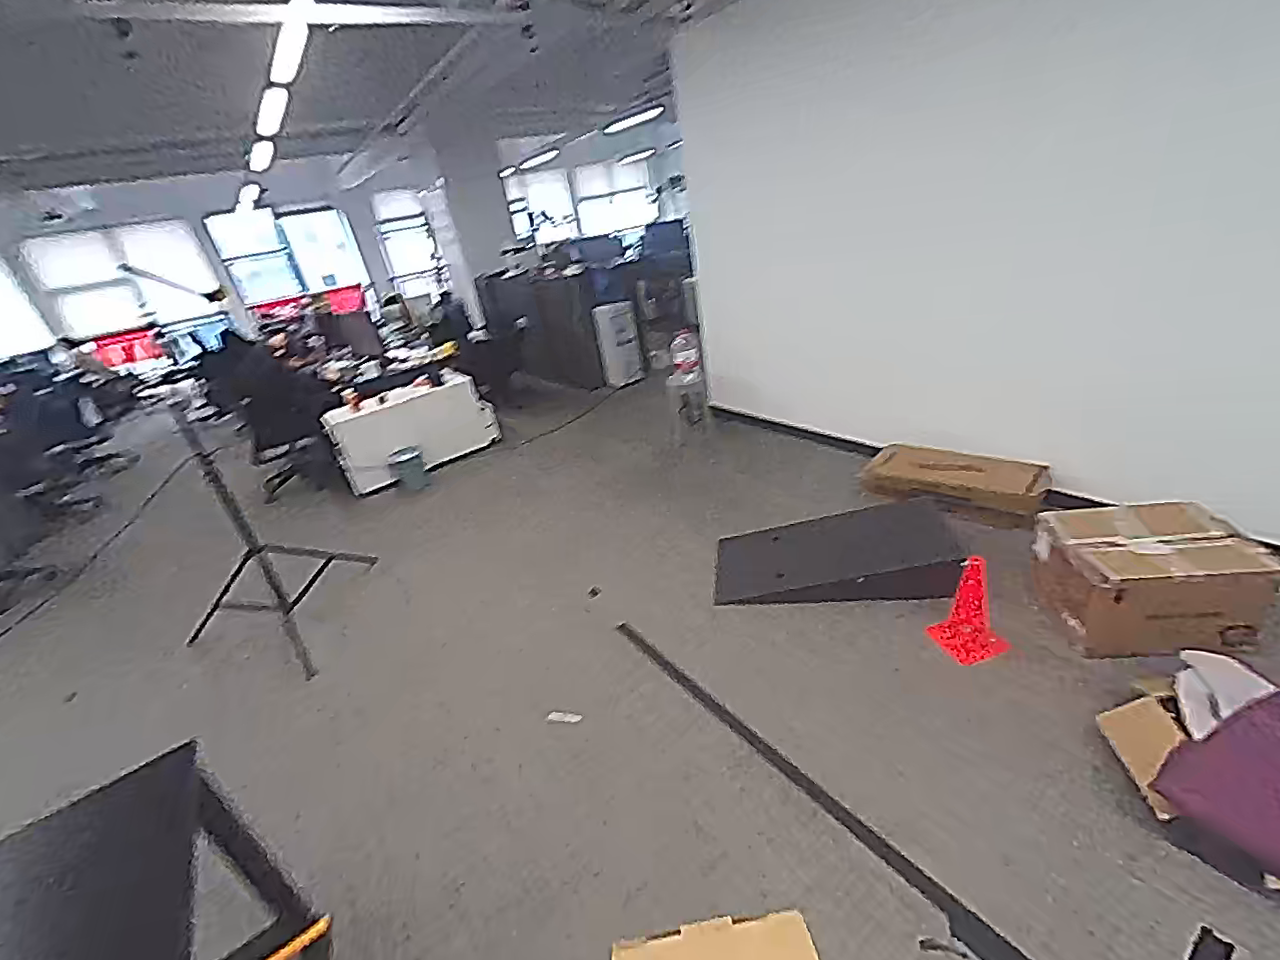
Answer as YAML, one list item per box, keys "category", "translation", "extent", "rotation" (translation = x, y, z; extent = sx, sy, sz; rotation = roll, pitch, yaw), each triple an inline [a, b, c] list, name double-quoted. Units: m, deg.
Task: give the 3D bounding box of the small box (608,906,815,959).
- category: "small box"
  translation: [0.066, 0.479, 0.410]
  extent: [0.168, 0.176, 0.179]
  rotation: [-5, 28, -10]
